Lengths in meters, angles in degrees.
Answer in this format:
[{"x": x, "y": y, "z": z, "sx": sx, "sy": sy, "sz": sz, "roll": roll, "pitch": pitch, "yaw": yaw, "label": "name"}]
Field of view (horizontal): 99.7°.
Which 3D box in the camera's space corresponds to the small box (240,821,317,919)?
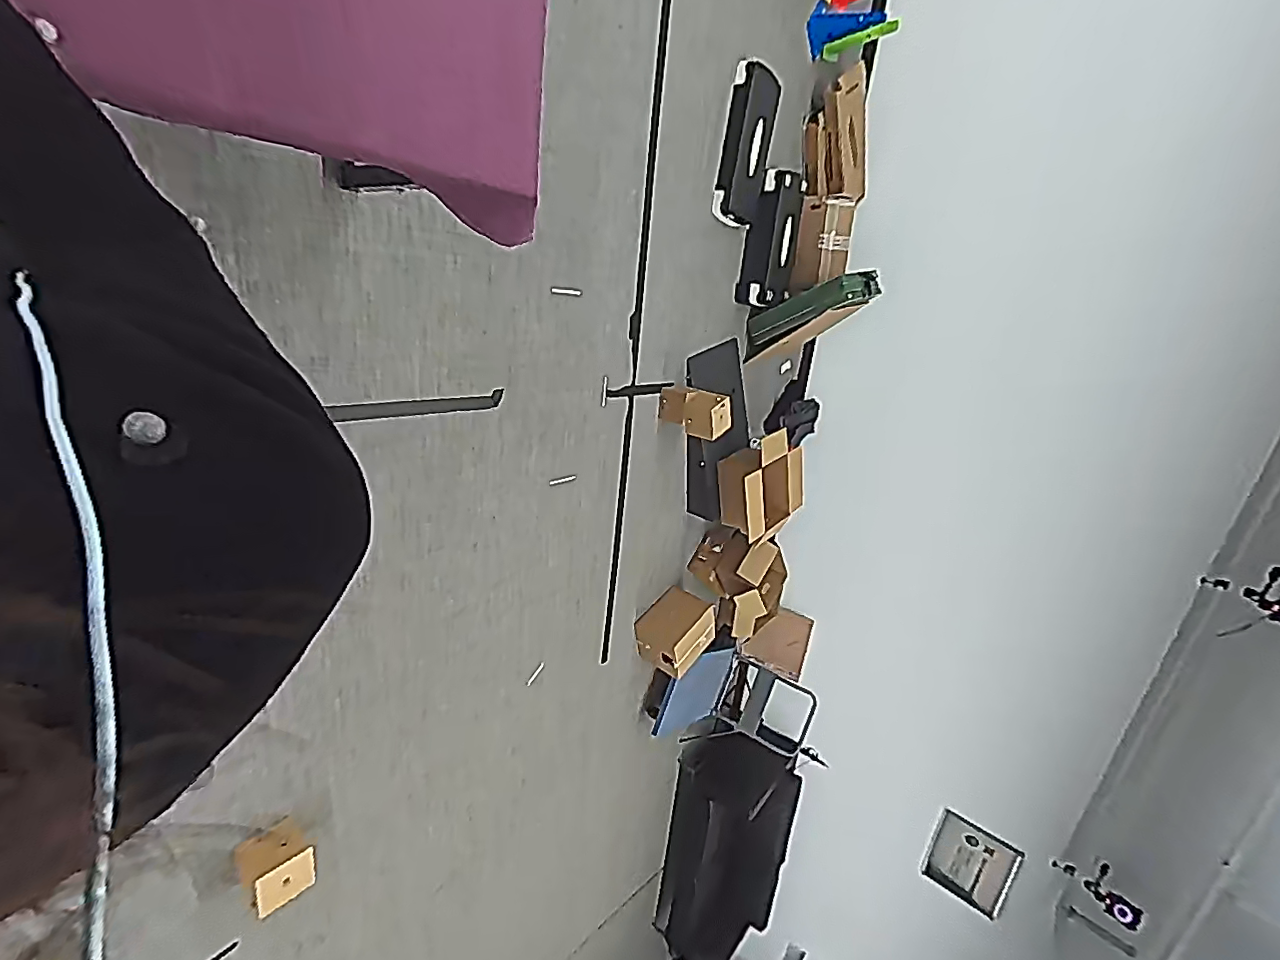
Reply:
[{"x": -1.201, "y": 1.277, "z": 1.793, "sx": 0.168, "sy": 0.176, "sz": 0.179, "roll": -15, "pitch": 120, "yaw": -50, "label": "small box"}]
